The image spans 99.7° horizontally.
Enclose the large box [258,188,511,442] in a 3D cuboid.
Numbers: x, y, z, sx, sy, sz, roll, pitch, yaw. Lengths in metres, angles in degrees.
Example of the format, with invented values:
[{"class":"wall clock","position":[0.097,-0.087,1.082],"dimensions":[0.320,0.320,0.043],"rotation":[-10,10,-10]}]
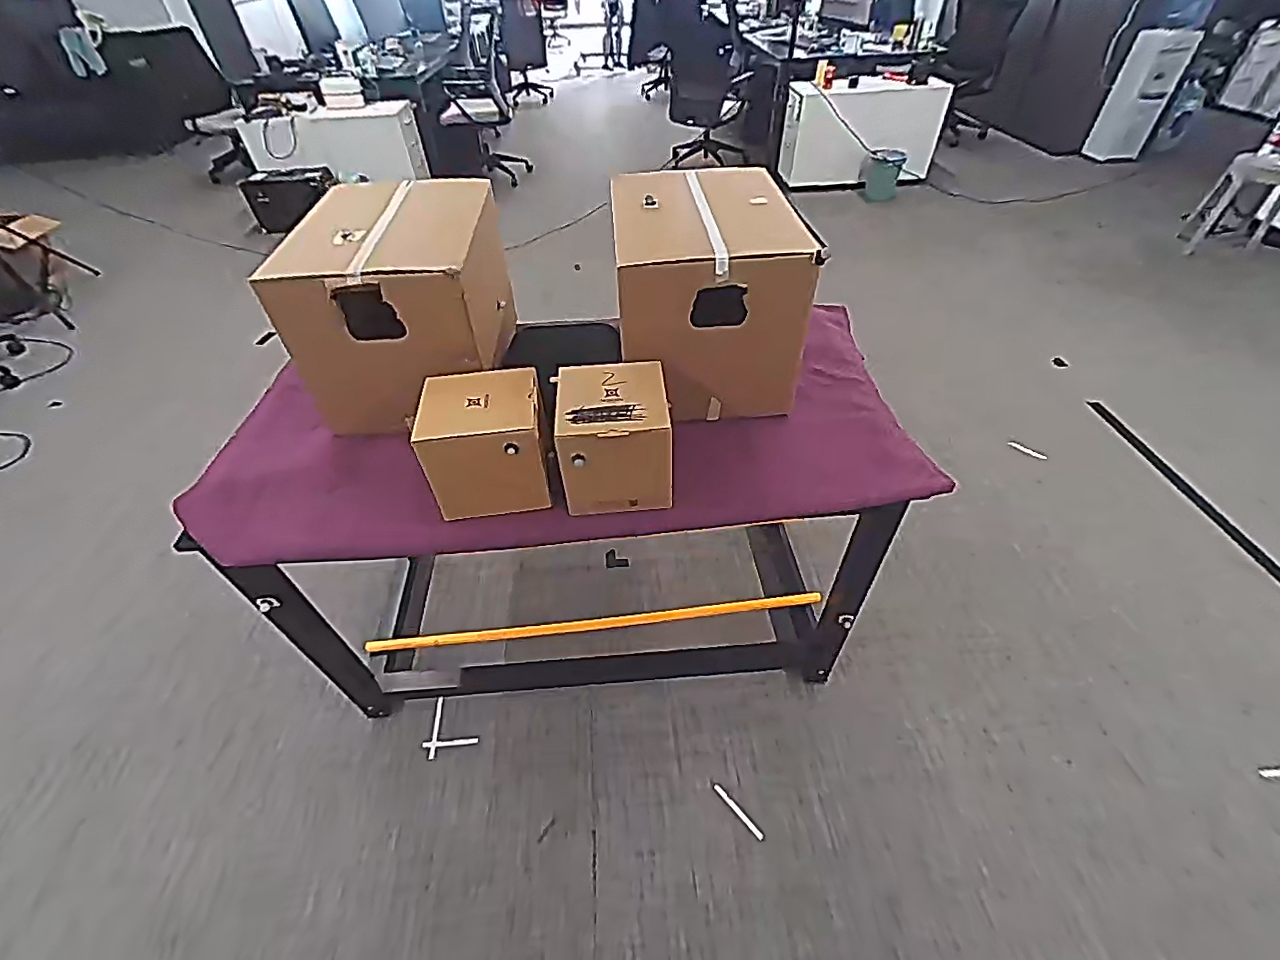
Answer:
[{"class":"large box","position":[-0.439,-0.328,1.055],"dimensions":[0.320,0.320,0.408],"rotation":[-5,48,-2]}]
